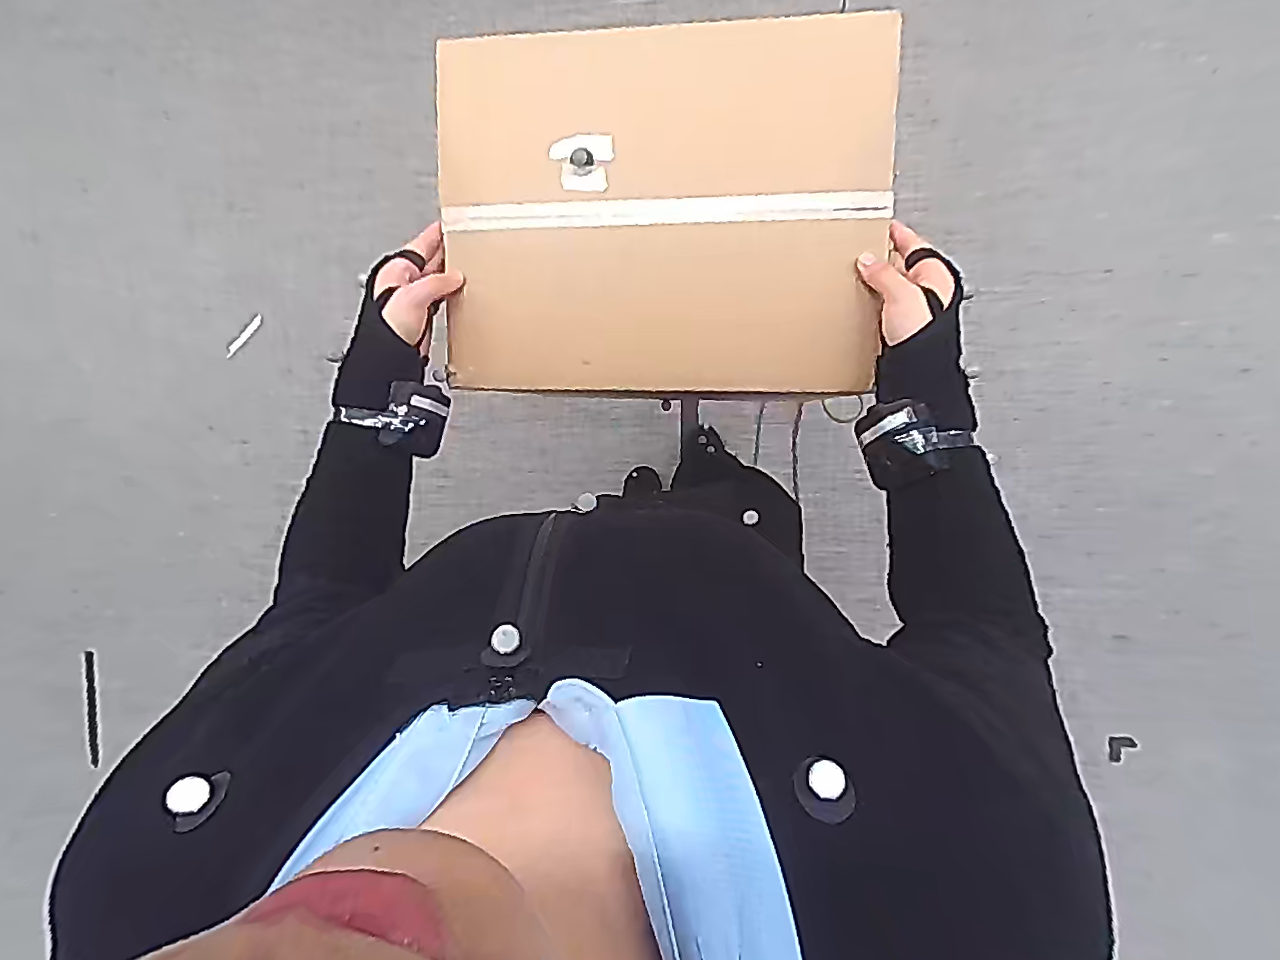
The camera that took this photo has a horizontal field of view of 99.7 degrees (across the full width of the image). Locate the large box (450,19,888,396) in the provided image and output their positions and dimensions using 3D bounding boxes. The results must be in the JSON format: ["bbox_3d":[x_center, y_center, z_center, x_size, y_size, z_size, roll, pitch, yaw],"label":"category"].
[{"bbox_3d":[0.037,-0.262,0.648,0.408,0.320,0.320,1,96,7],"label":"large box"}]
